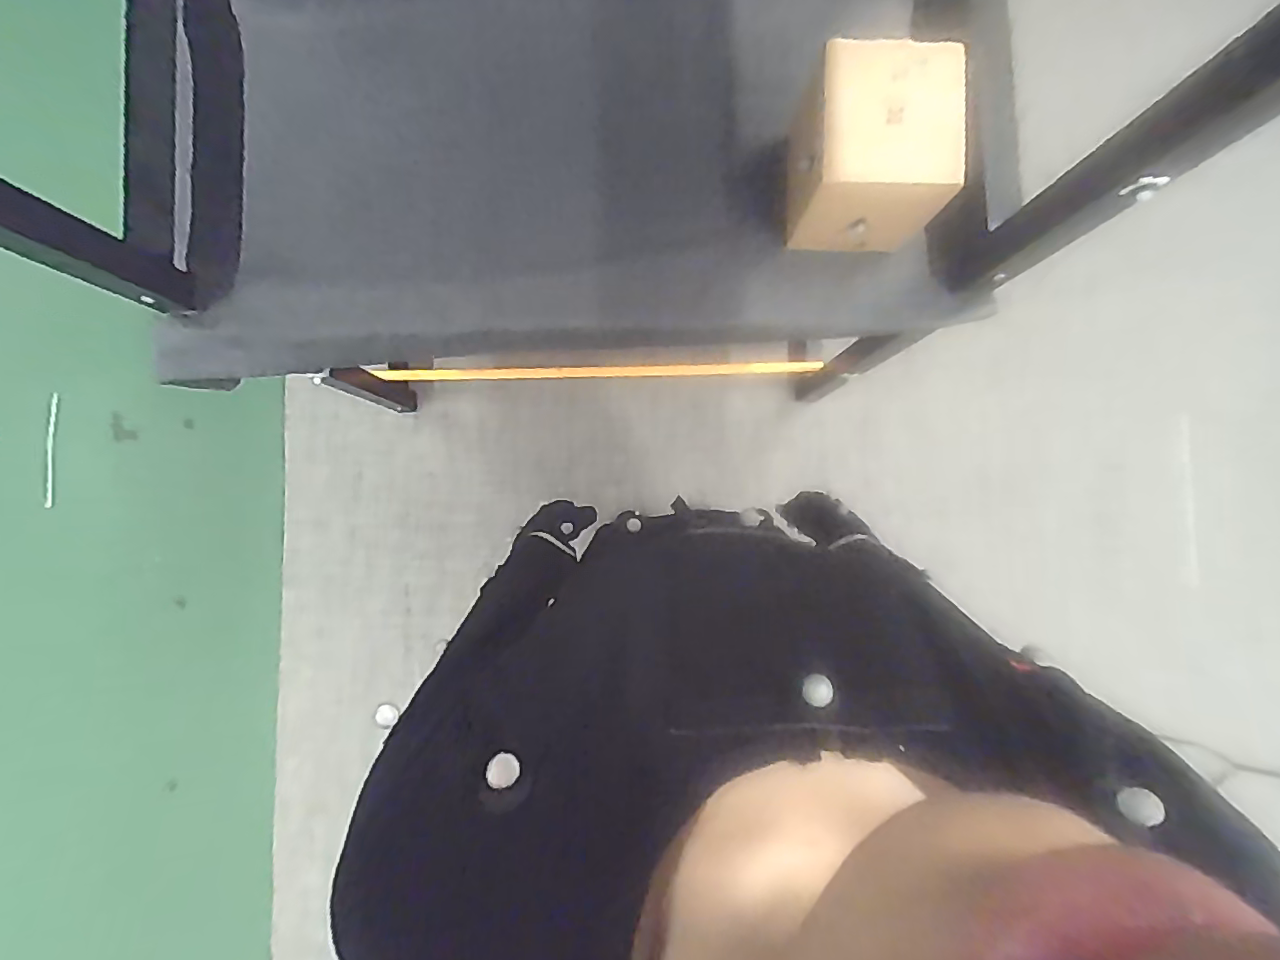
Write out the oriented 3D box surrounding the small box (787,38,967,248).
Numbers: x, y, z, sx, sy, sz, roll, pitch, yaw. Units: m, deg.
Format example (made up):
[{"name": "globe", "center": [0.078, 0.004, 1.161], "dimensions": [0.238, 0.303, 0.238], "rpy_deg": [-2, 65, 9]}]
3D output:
[{"name": "small box", "center": [0.297, -0.425, 0.709], "dimensions": [0.168, 0.176, 0.179], "rpy_deg": [2, 87, 0]}]
